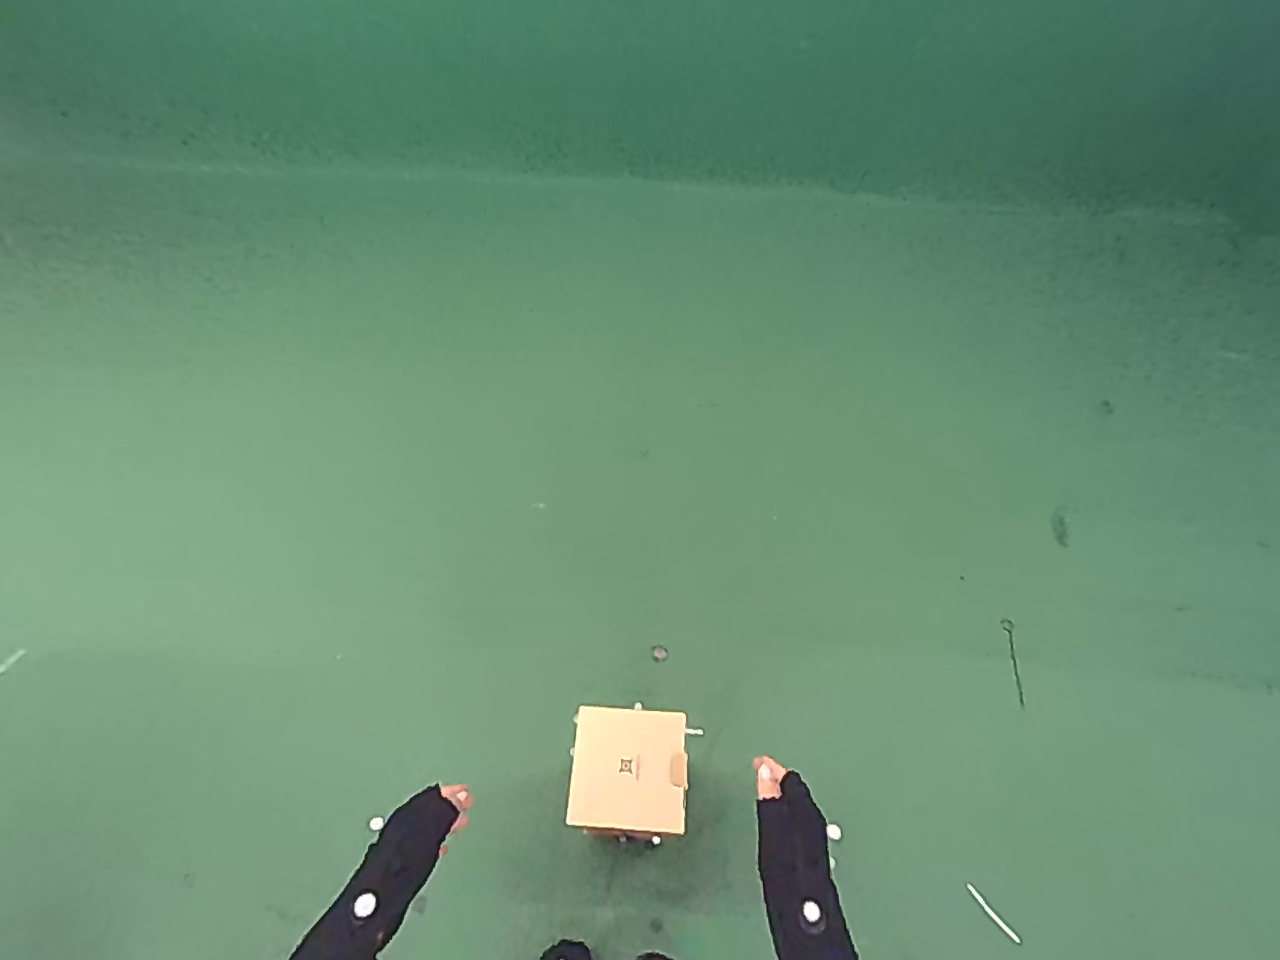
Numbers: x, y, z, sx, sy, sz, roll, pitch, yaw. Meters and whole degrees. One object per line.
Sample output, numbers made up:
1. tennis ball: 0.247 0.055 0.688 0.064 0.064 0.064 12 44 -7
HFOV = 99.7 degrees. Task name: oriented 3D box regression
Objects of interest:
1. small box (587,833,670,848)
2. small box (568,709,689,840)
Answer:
1. small box: -0.018 0.675 1.158 0.168 0.176 0.179 3 56 3
2. small box: -0.014 0.488 0.890 0.179 0.176 0.168 3 55 1
